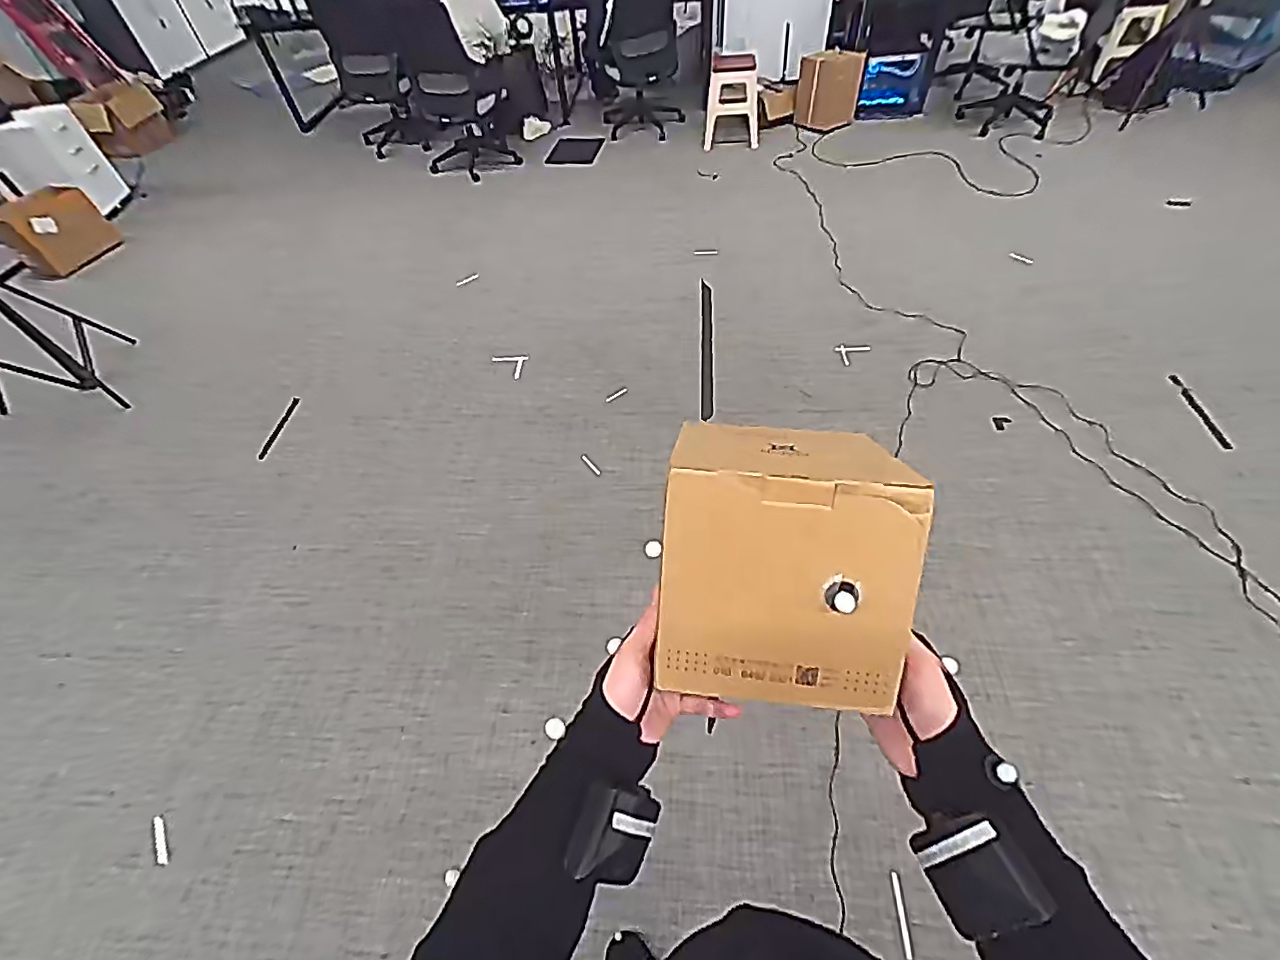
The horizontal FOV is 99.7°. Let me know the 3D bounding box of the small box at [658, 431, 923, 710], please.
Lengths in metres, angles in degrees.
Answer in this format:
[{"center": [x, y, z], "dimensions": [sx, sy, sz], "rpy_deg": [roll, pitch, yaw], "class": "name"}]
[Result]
[{"center": [0.106, 0.061, 0.447], "dimensions": [0.168, 0.176, 0.179], "rpy_deg": [6, 15, 6], "class": "small box"}]
